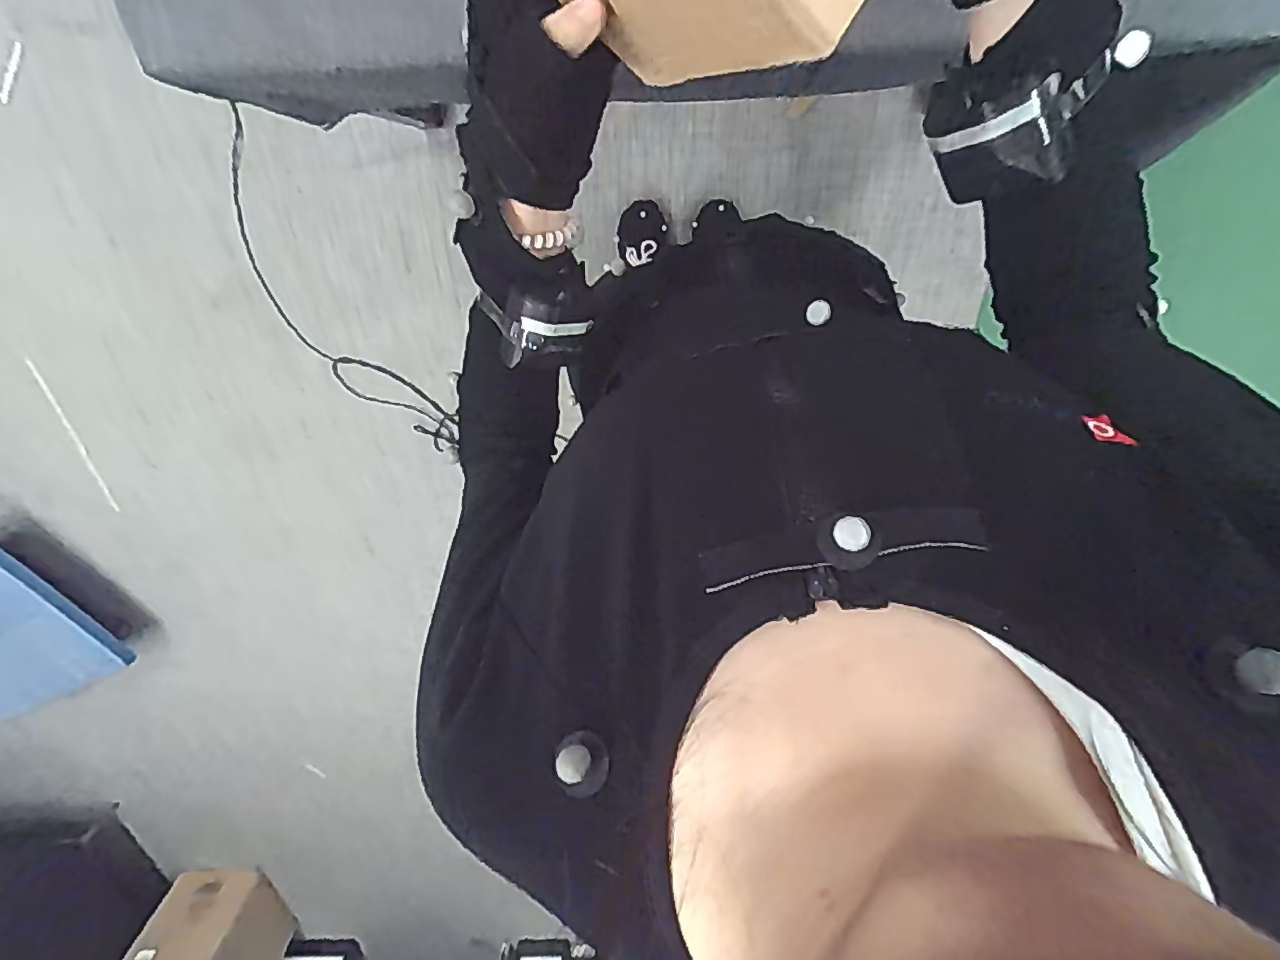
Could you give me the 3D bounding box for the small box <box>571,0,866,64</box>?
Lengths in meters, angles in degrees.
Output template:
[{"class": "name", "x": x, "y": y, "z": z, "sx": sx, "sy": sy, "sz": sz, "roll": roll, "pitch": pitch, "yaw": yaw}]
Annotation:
[{"class": "small box", "x": 0.020, "y": -0.281, "z": 0.172, "sx": 0.168, "sy": 0.176, "sz": 0.179, "roll": 21, "pitch": 110, "yaw": -33}]
